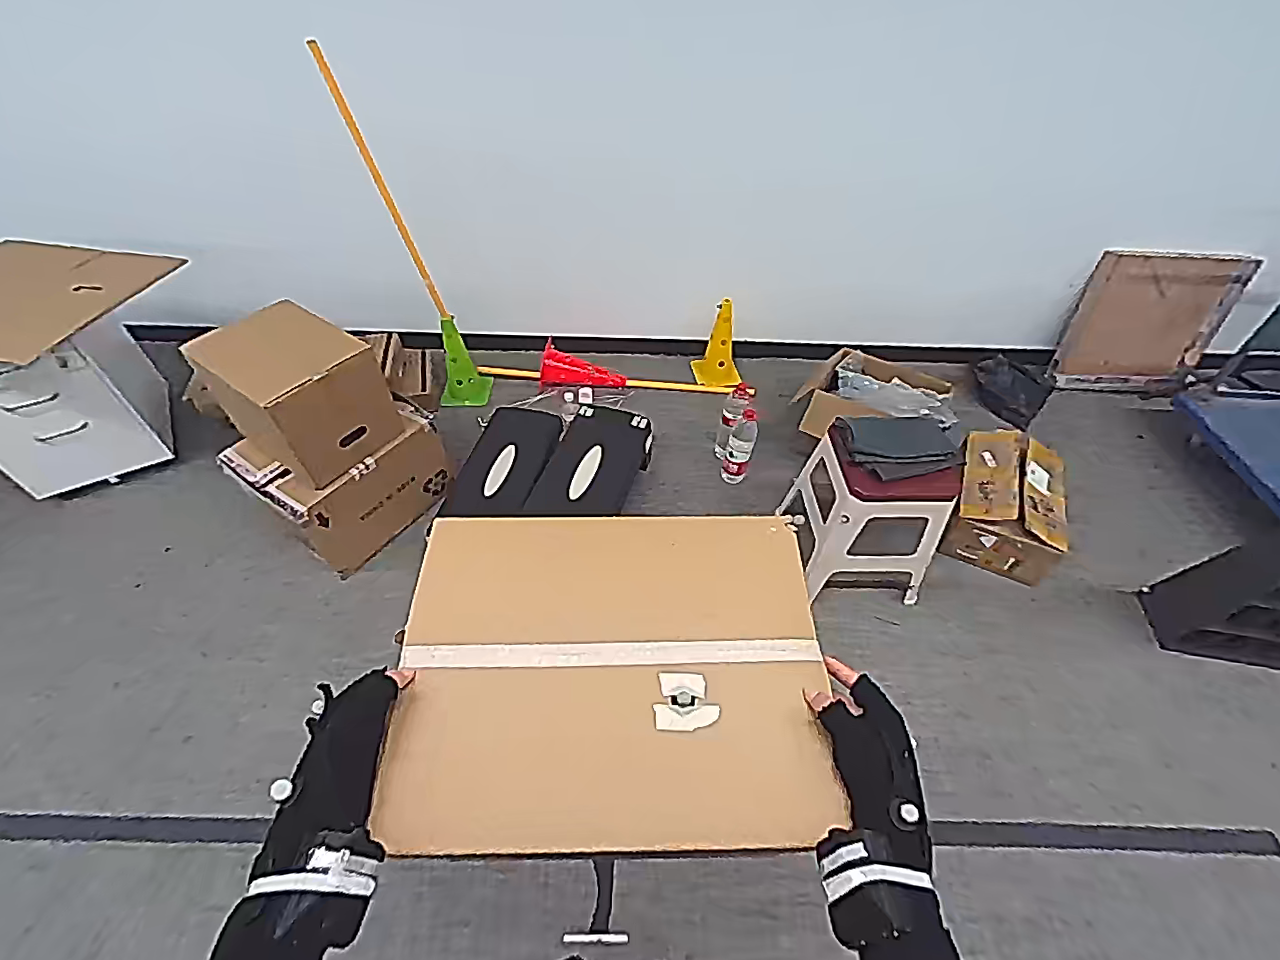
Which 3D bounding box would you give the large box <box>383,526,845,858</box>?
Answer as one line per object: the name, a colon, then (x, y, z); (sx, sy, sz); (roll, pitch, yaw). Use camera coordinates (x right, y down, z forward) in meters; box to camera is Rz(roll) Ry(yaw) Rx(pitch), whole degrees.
large box: (-0.027, 0.267, 0.664); (0.408, 0.320, 0.320); (0, 55, -2)
